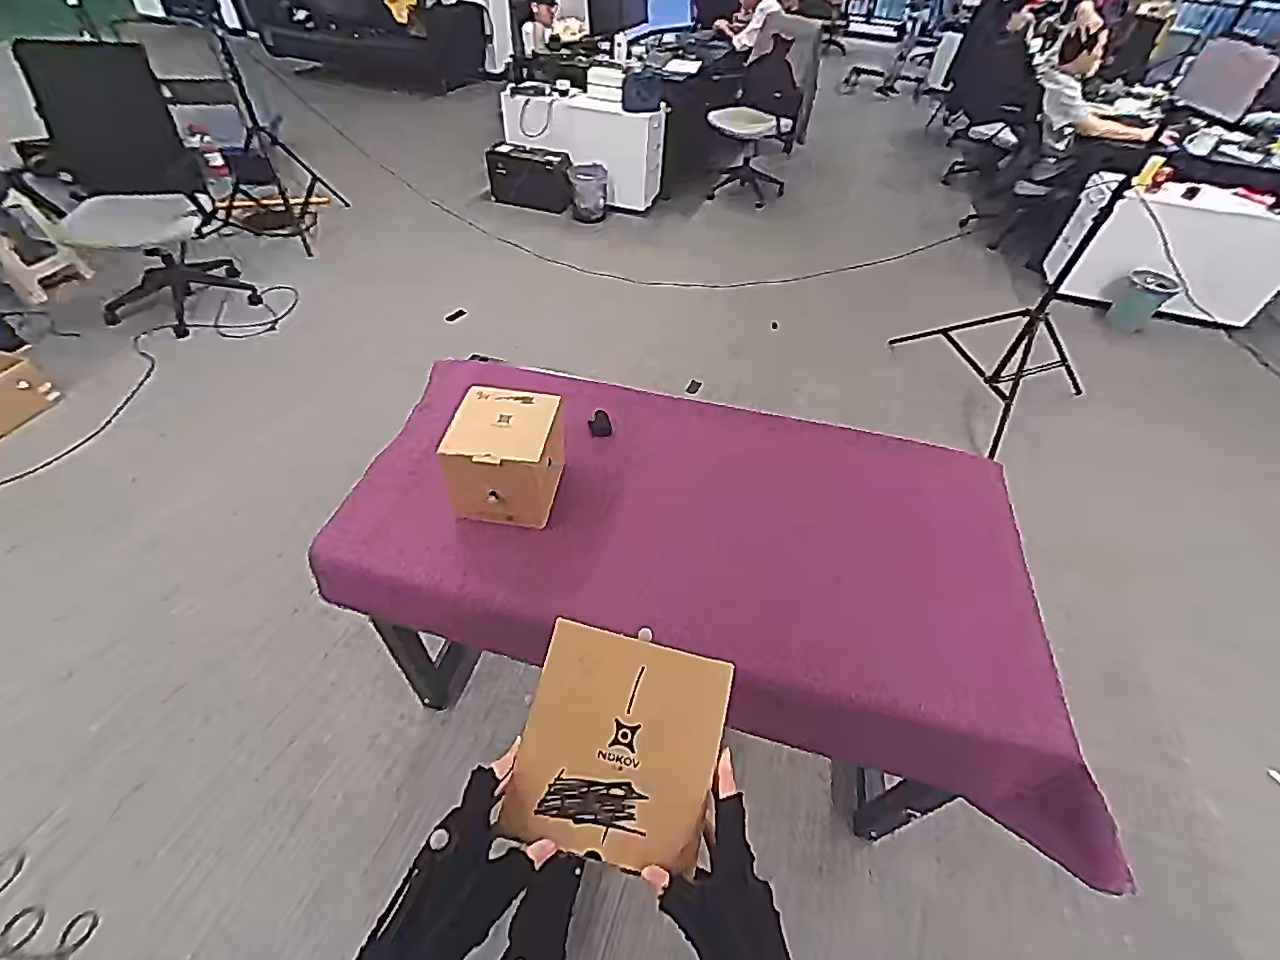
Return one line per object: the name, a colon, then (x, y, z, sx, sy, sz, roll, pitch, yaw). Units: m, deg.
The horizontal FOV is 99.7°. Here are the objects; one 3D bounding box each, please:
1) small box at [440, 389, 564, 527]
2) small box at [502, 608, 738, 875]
small box: (-0.232, -0.036, 0.967, 0.168, 0.176, 0.179, 7, 47, 2)
small box: (-0.017, 0.239, 0.533, 0.168, 0.176, 0.179, 16, 72, 0)
